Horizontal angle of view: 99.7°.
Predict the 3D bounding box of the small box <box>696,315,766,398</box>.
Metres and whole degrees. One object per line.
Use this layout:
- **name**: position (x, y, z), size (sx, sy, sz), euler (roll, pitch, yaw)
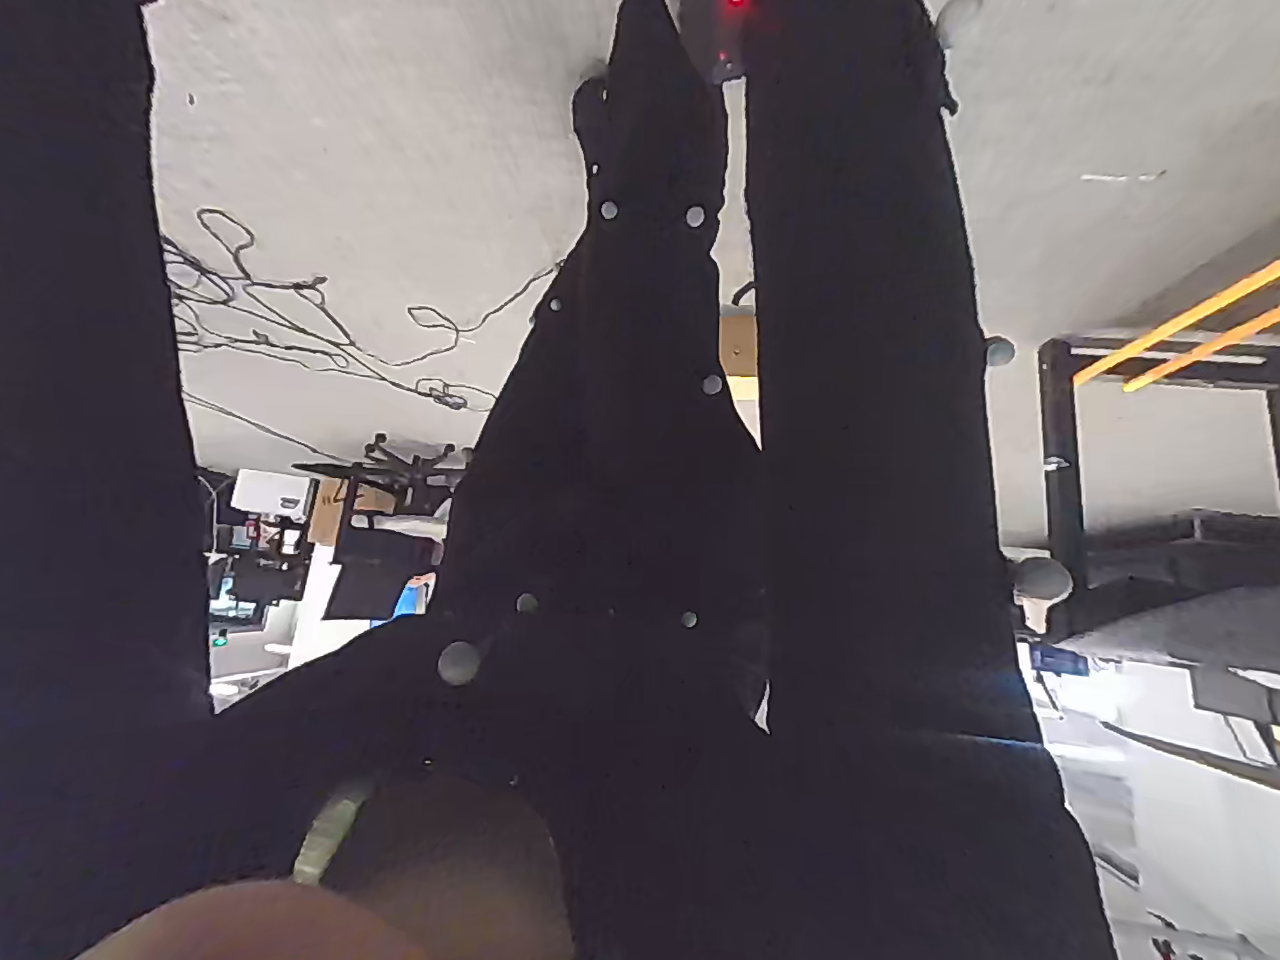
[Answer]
- **small box**: position (0.246, -0.328, 1.447), size (0.179, 0.176, 0.168), euler (2, 168, 11)
